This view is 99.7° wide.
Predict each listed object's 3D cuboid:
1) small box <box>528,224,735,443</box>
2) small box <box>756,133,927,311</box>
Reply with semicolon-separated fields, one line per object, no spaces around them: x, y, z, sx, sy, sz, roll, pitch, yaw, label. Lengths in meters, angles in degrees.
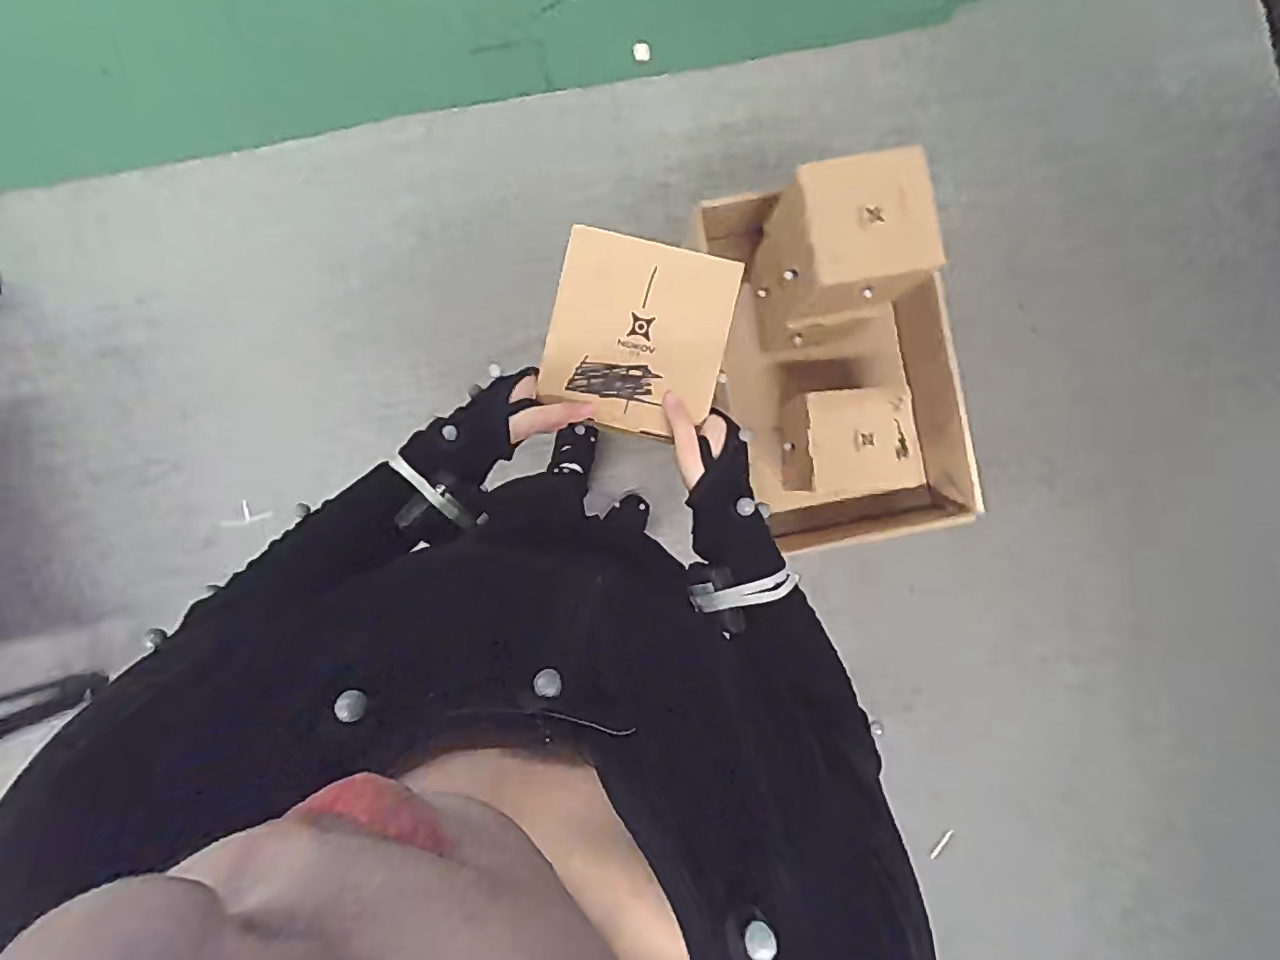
-0.007;-0.140;0.585;0.168;0.176;0.179;13;92;0;small box
0.280;-0.366;0.798;0.179;0.176;0.168;-12;90;-2;small box
